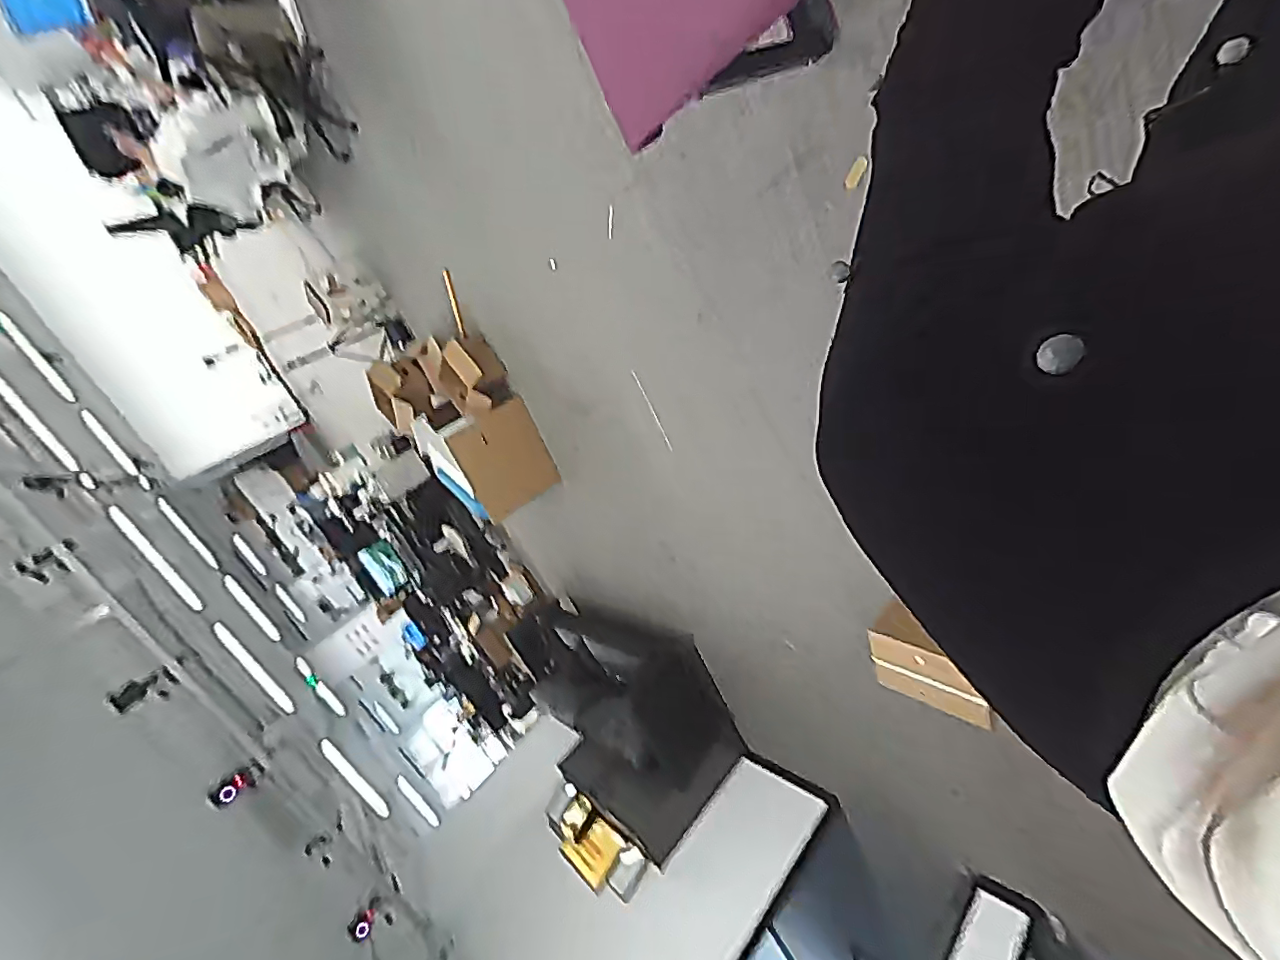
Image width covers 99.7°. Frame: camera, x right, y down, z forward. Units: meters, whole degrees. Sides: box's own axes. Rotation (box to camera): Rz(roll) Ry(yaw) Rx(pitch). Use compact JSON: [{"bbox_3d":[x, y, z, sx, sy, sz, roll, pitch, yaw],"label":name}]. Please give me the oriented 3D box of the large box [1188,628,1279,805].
[{"bbox_3d":[1.680,0.561,1.292,0.320,0.320,0.408,45,149,9],"label":"large box"}]
